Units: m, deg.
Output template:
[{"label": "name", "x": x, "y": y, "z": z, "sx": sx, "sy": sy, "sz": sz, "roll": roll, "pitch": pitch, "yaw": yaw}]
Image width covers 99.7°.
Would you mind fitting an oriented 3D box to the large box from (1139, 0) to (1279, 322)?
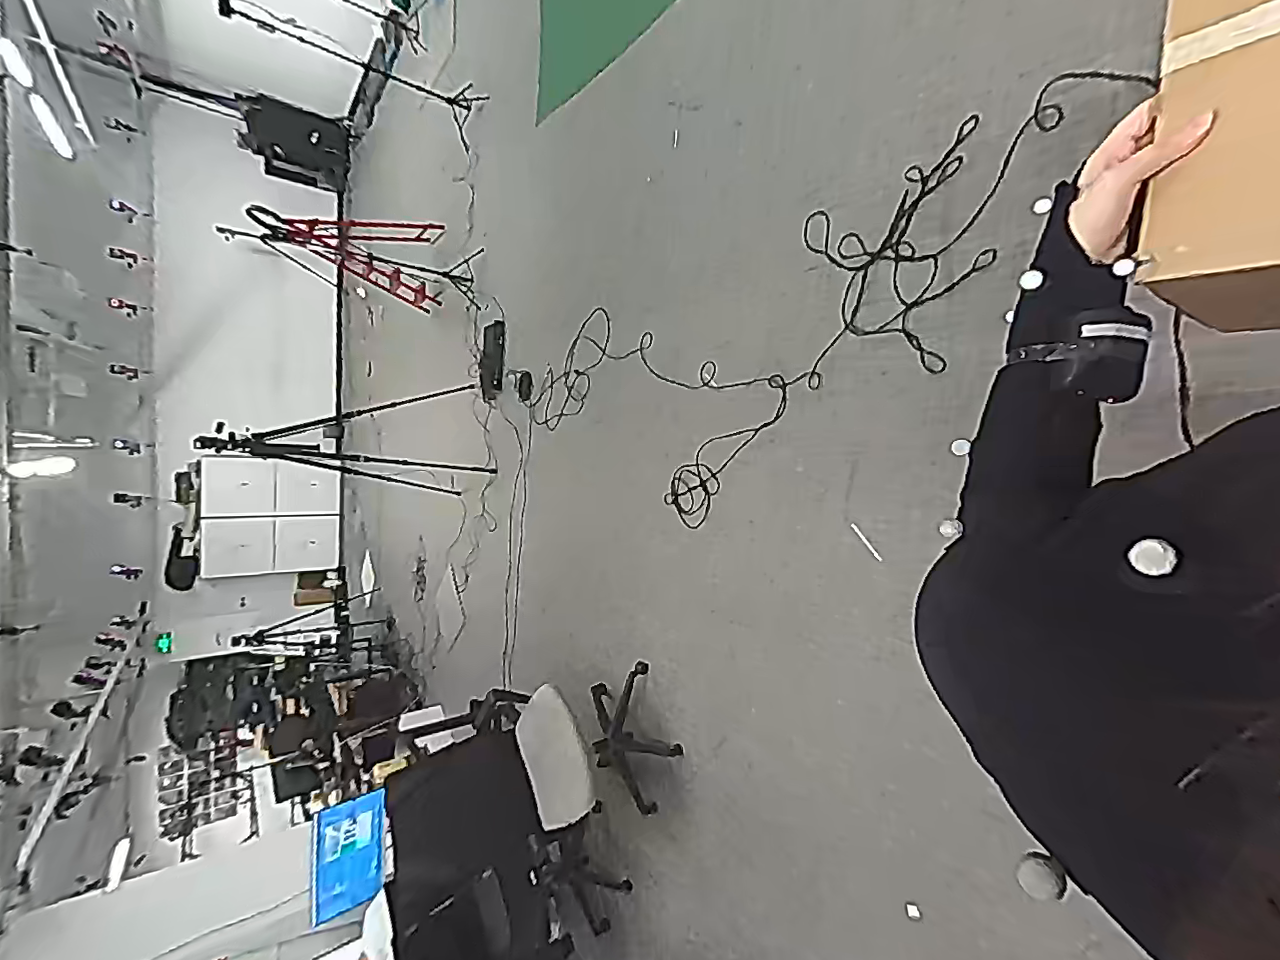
[{"label": "large box", "x": 0.634, "y": -0.293, "z": 0.331, "sx": 0.408, "sy": 0.320, "sz": 0.320, "roll": 12, "pitch": 101, "yaw": 55}]
